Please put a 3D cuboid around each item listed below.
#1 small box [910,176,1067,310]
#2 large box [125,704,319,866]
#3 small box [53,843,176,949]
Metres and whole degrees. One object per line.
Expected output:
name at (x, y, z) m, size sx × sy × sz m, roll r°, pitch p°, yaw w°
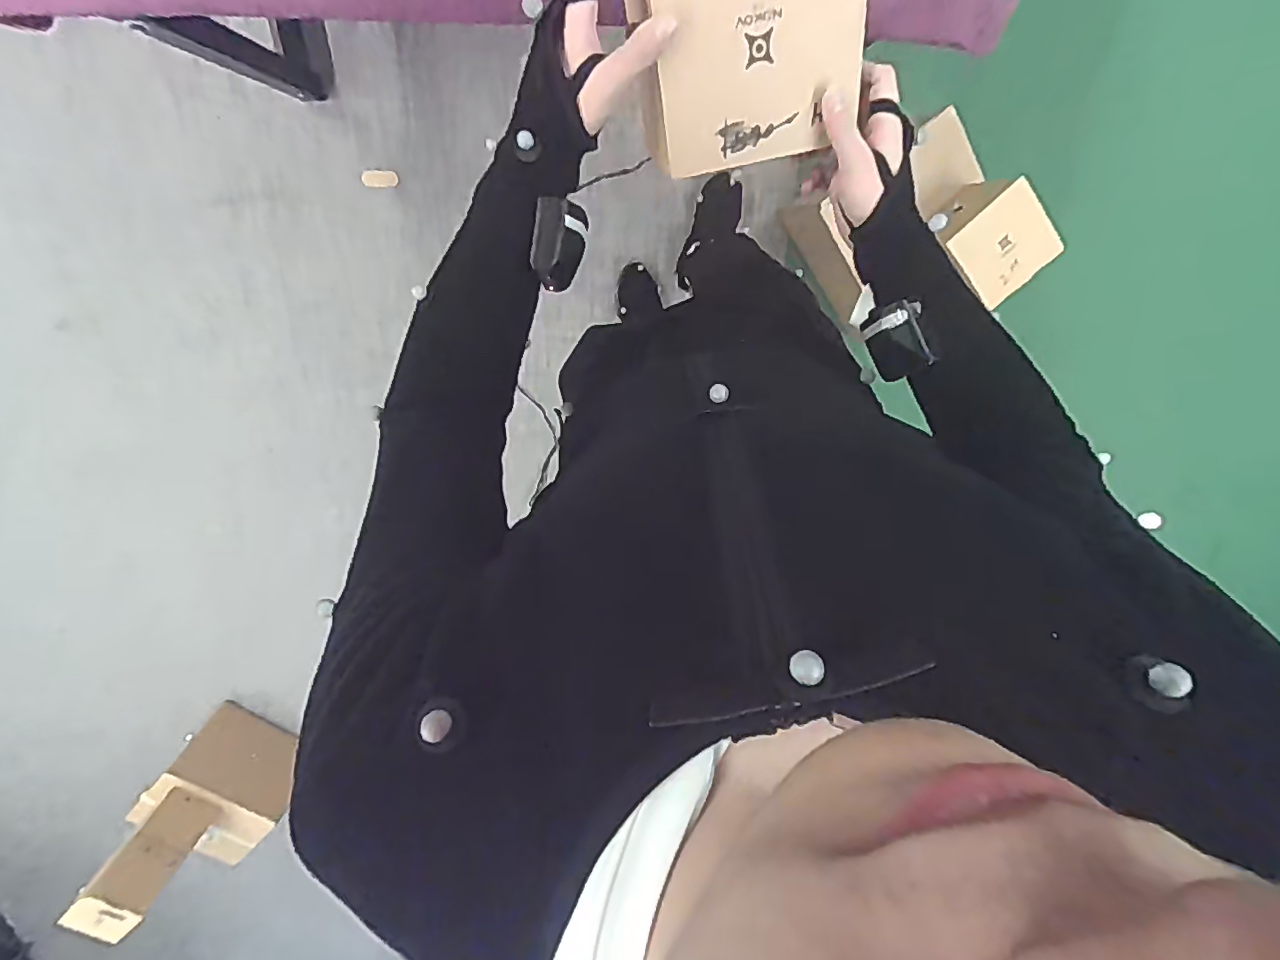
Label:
small box at (0.687, -0.469, 1.087) m, size 0.168 × 0.176 × 0.179 m, roll -42°, pitch 109°, yaw 14°
large box at (-1.506, 1.110, 1.982) m, size 0.408 × 0.320 × 0.320 m, roll 41°, pitch 108°, yaw -19°
small box at (-1.518, 1.206, 1.576) m, size 0.179 × 0.176 × 0.168 m, roll -42°, pitch 109°, yaw 16°
